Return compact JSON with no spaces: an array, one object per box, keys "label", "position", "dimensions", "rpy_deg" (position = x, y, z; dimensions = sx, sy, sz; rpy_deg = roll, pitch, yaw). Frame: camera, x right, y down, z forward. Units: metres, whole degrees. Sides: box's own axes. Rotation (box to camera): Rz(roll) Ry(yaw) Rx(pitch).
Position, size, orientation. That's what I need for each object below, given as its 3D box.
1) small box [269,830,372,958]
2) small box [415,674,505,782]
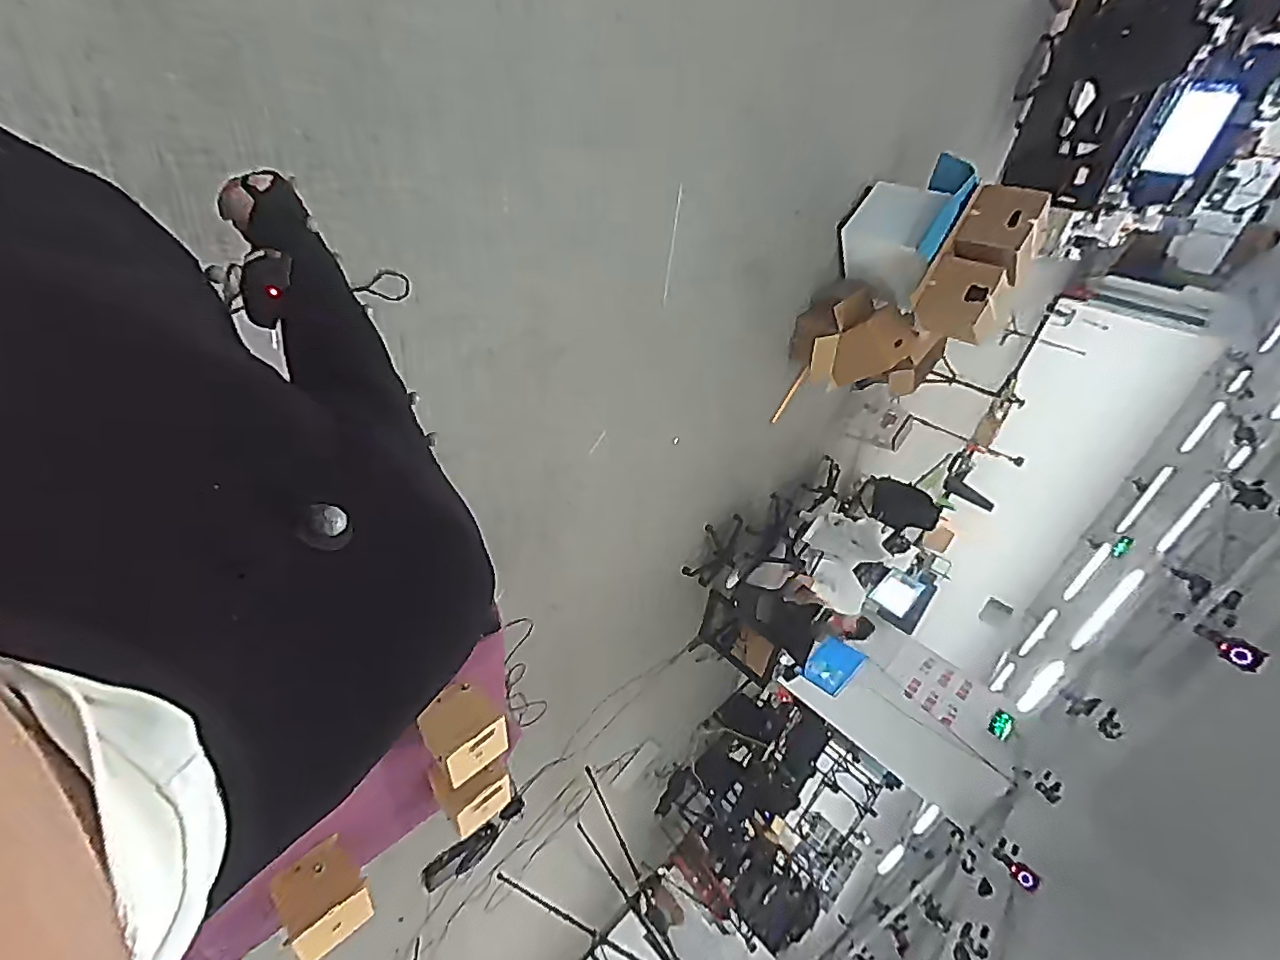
[{"label":"small box","position":[-0.807,1.039,1.370],"dimensions":[0.168,0.176,0.179],"rpy_deg":[-24,135,-40]},{"label":"small box","position":[-0.482,0.652,1.448],"dimensions":[0.168,0.176,0.179],"rpy_deg":[-28,141,-36]}]
